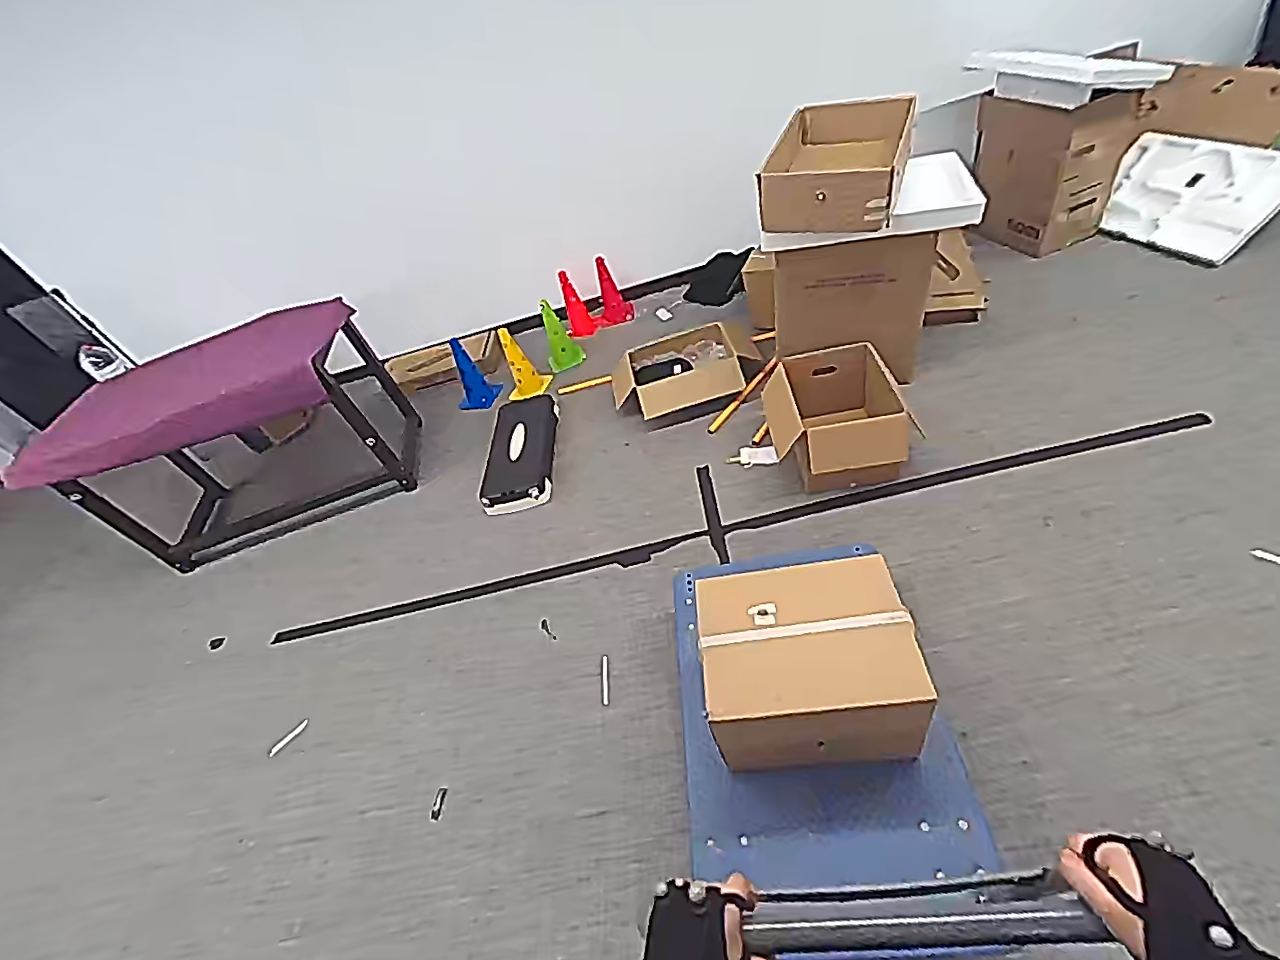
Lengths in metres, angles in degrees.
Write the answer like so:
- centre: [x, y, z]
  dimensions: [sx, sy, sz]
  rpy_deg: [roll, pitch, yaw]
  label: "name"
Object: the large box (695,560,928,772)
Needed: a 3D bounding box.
- centre: [0.358, 0.419, 1.194]
  dimensions: [0.408, 0.320, 0.320]
  rpy_deg: [-11, 44, 10]
  label: "large box"
